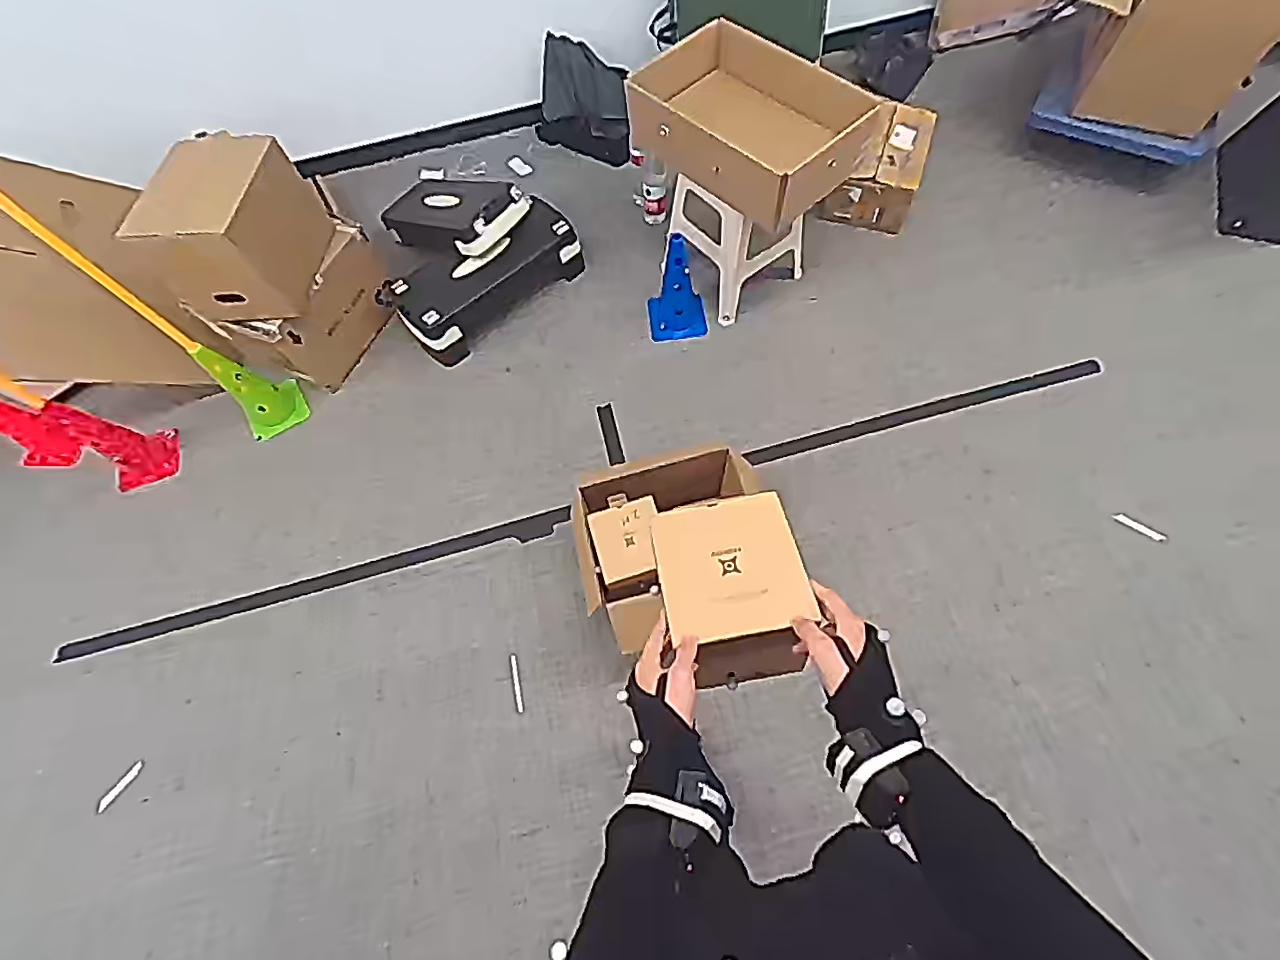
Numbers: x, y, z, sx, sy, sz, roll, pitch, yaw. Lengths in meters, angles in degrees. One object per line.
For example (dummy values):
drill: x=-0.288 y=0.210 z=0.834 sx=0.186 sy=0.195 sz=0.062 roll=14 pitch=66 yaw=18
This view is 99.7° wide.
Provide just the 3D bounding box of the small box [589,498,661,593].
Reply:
small box: x=-0.017 y=0.170 z=1.331 sx=0.168 sy=0.176 sz=0.179 roll=-16 pitch=67 yaw=-3

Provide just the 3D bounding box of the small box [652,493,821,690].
small box: x=0.112 y=0.145 z=0.690 sx=0.168 sy=0.176 sz=0.179 roll=-10 pitch=52 yaw=1
